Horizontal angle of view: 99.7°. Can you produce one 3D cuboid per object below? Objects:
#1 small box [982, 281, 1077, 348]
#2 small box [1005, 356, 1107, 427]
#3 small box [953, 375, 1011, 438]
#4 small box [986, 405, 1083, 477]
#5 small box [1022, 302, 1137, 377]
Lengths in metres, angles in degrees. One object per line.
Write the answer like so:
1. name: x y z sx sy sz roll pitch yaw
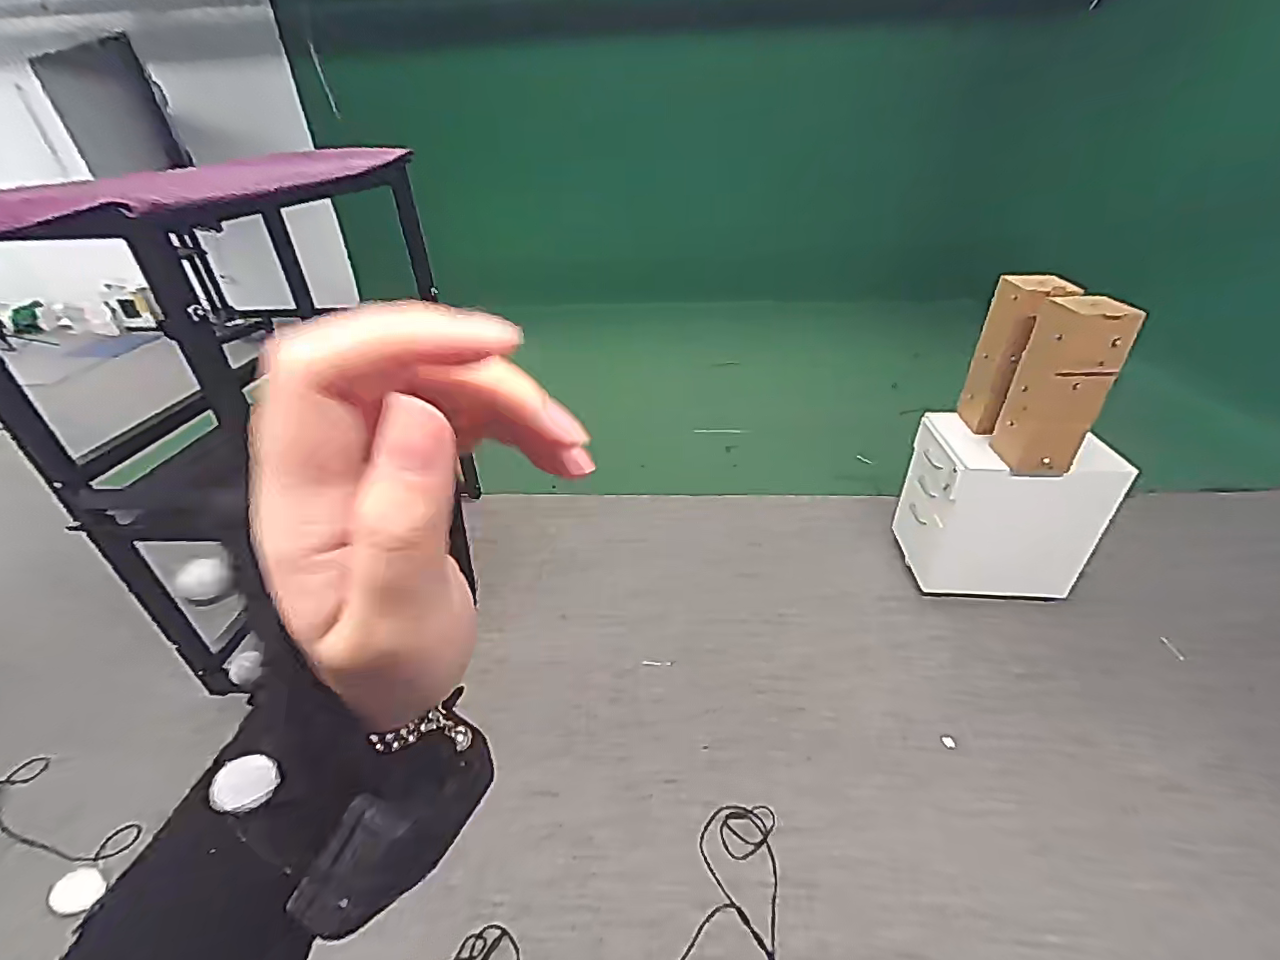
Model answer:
1. small box: 1.243 -0.534 1.744 0.168 0.176 0.179 2 35 5
2. small box: 1.243 -0.268 1.636 0.179 0.176 0.168 0 34 3
3. small box: 1.250 -0.263 1.926 0.168 0.176 0.179 1 35 5
4. small box: 1.243 -0.126 1.720 0.168 0.176 0.179 2 33 5
5. small box: 1.240 -0.400 1.540 0.168 0.176 0.179 1 32 4
